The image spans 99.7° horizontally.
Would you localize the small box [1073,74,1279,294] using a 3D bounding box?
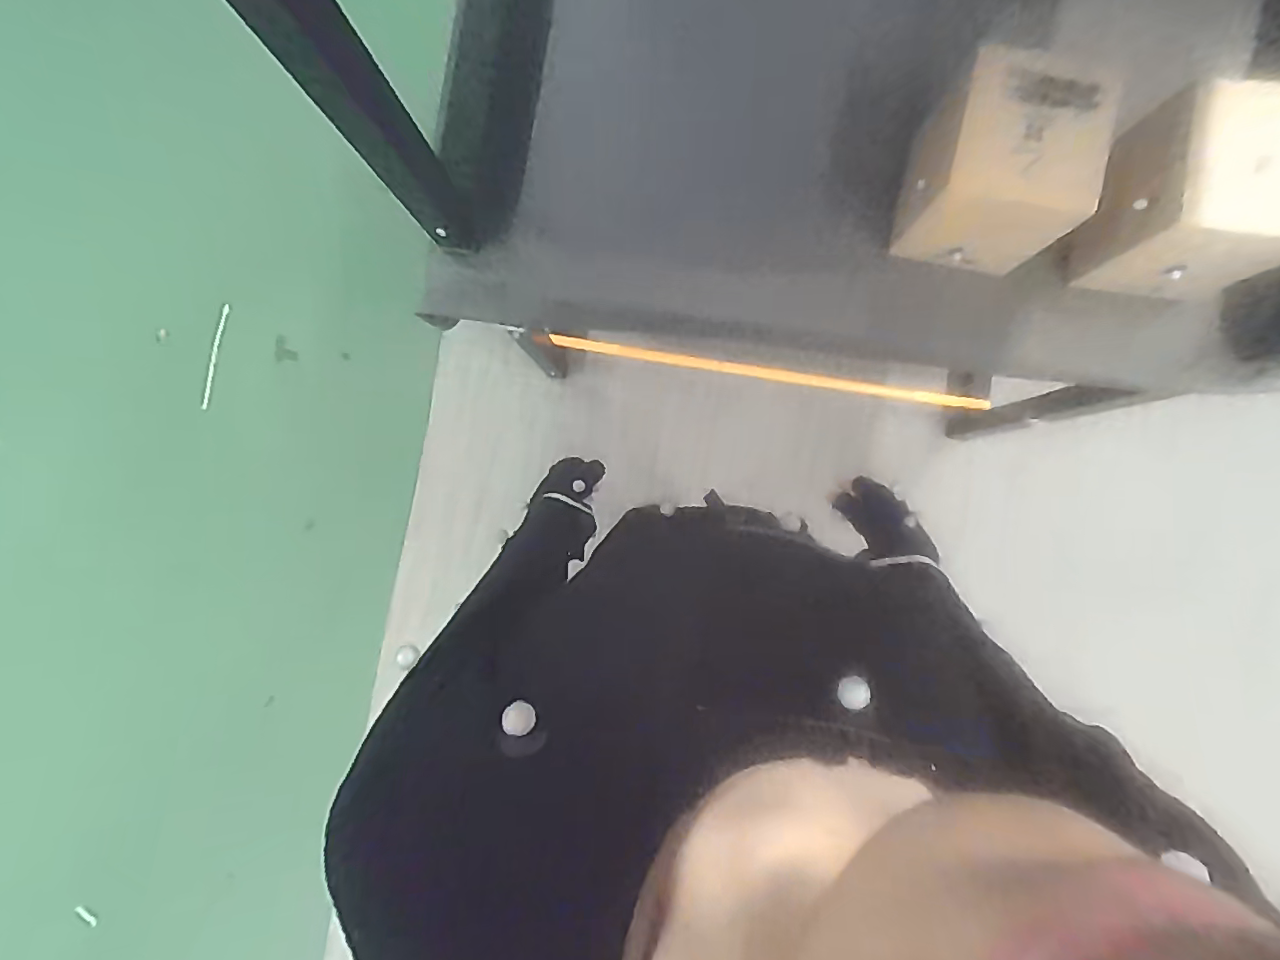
[{"bbox_3d":[0.689,-0.353,0.676,0.168,0.176,0.179,9,87,3],"label":"small box"}]
